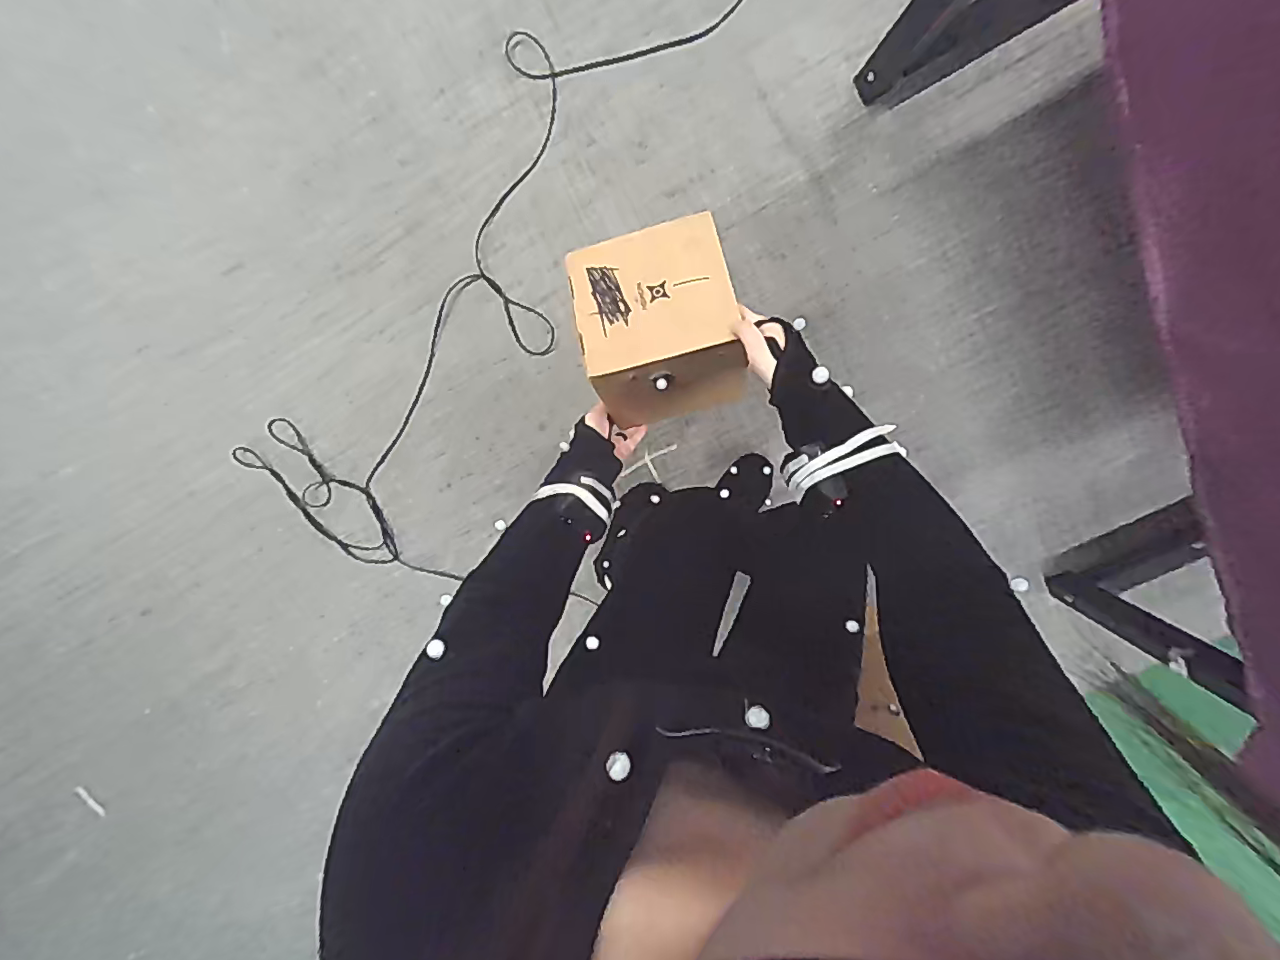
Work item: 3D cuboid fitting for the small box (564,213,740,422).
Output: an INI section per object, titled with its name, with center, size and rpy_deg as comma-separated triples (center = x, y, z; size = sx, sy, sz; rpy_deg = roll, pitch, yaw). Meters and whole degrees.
[small box]
center = 0.022, -0.188, 0.678
size = 0.179, 0.176, 0.168
rpy_deg = -14, 74, 6
